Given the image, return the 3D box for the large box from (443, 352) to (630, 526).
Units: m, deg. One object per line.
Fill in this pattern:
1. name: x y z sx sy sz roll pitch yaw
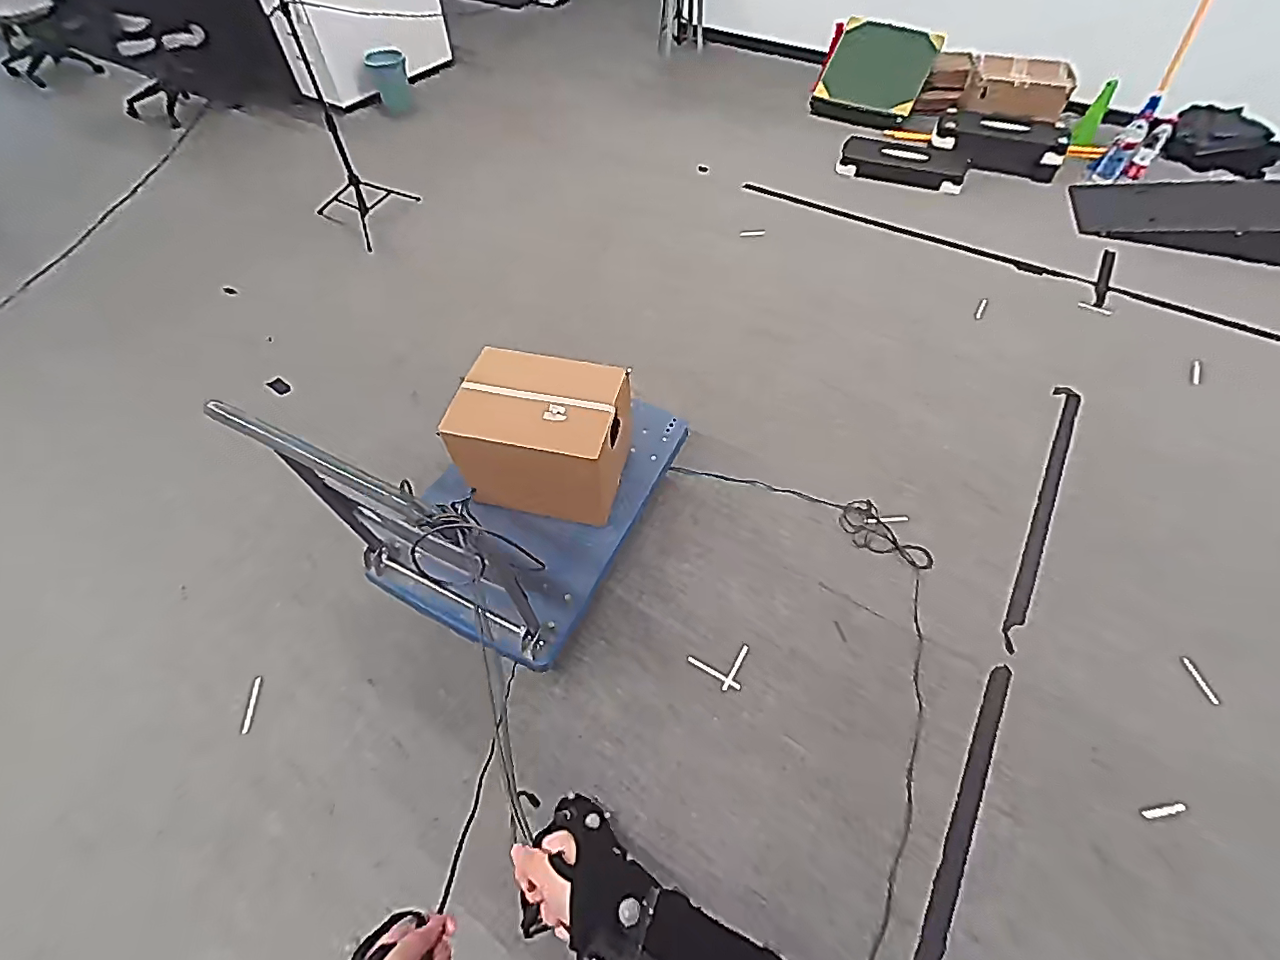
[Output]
1. large box: -0.256 -0.109 1.480 0.408 0.320 0.320 11 56 7
